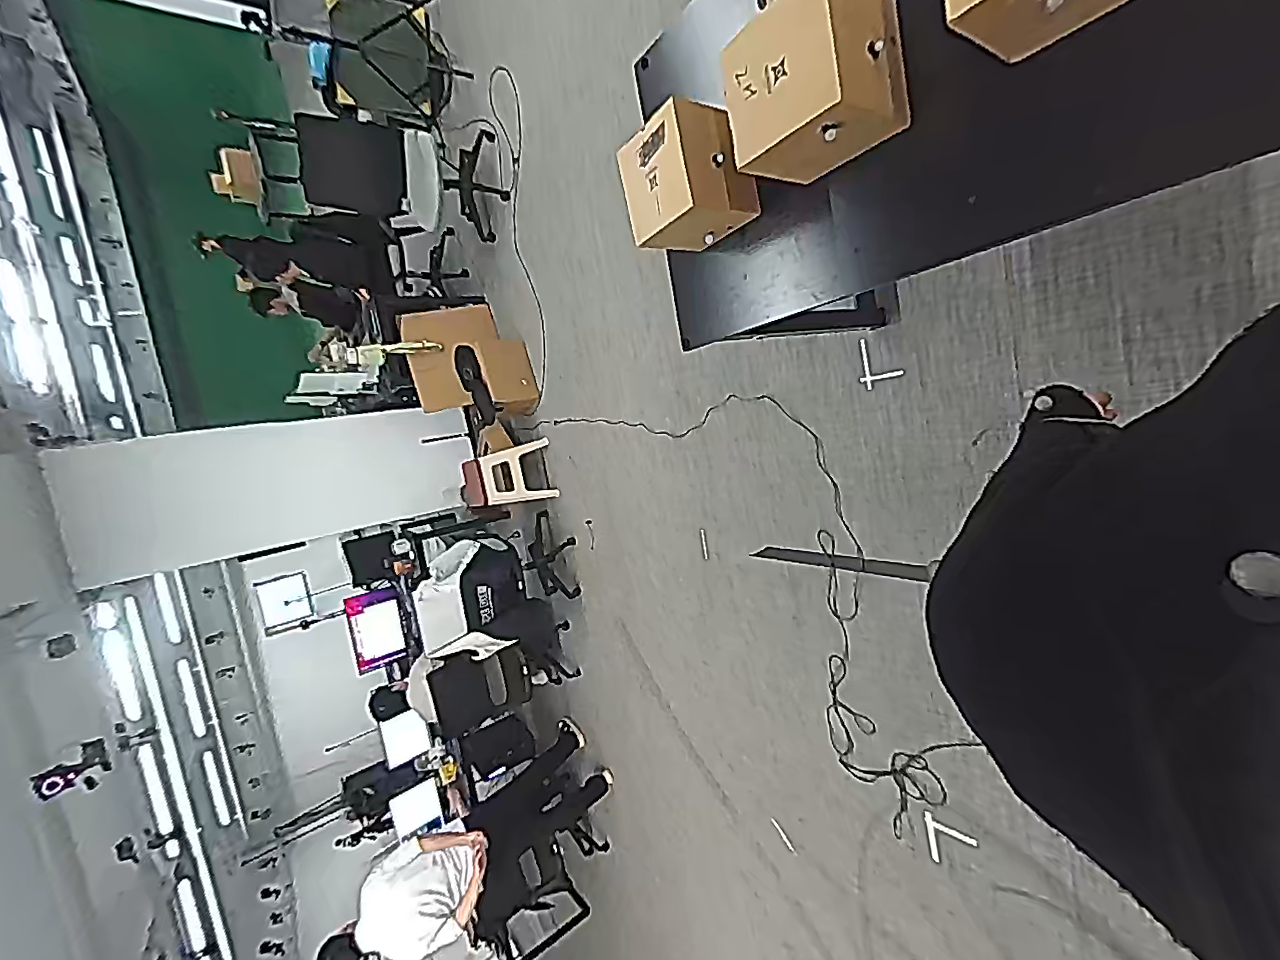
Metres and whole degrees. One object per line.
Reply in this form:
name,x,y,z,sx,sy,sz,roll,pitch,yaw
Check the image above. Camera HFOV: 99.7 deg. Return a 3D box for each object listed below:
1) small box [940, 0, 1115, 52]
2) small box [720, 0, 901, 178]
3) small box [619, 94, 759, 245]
small box,0.411,-0.561,0.517,0.179,0.176,0.168,0,102,55
small box,0.242,-0.552,0.756,0.179,0.176,0.168,-4,98,55
small box,0.090,-0.543,0.975,0.168,0.176,0.179,-6,98,55
